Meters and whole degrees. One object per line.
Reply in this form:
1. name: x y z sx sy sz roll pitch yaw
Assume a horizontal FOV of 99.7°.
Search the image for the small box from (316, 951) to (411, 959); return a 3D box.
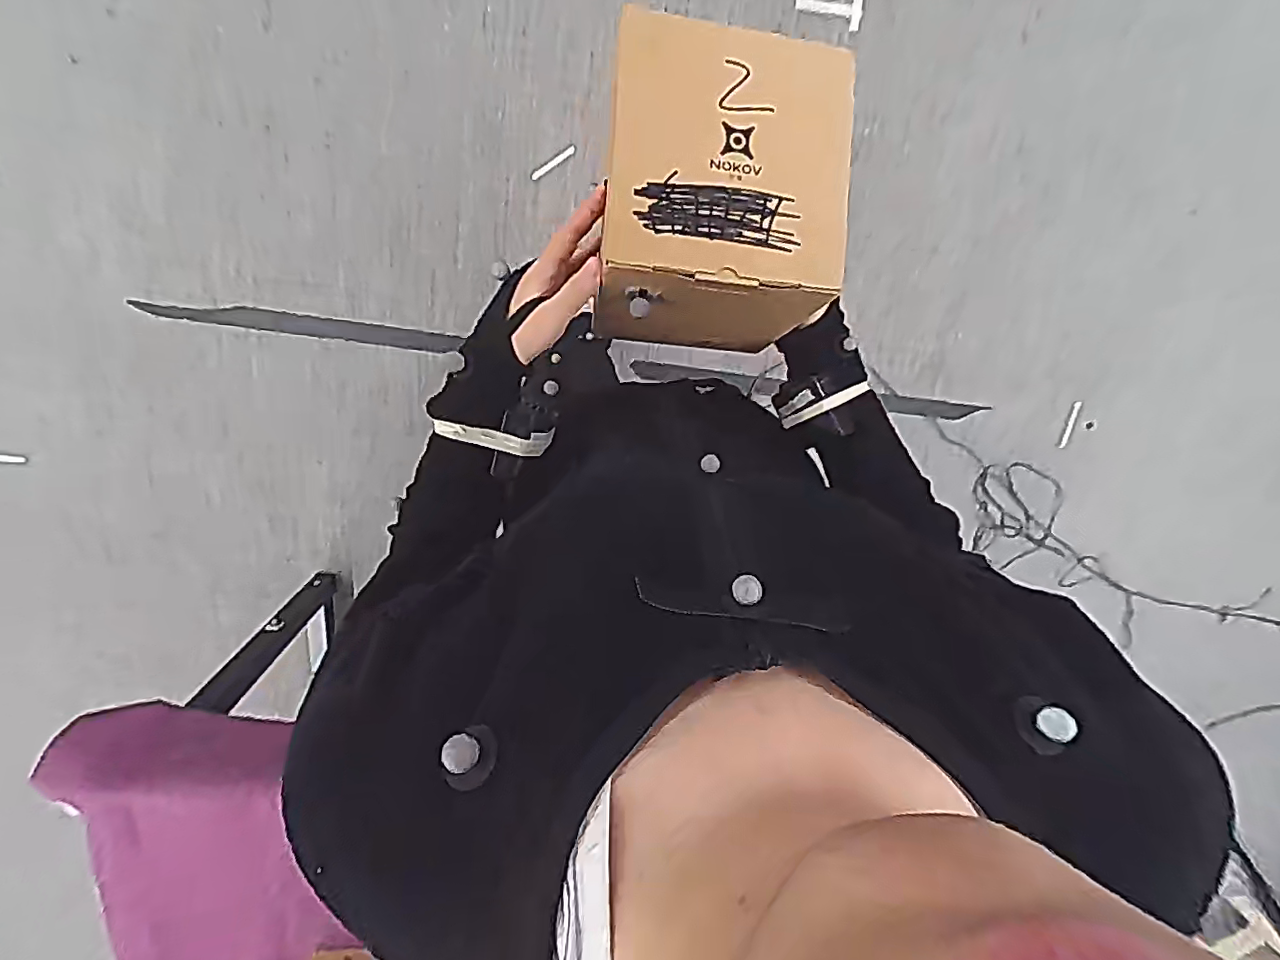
1. small box: -0.482 0.929 0.890 0.168 0.176 0.179 5 105 -9
